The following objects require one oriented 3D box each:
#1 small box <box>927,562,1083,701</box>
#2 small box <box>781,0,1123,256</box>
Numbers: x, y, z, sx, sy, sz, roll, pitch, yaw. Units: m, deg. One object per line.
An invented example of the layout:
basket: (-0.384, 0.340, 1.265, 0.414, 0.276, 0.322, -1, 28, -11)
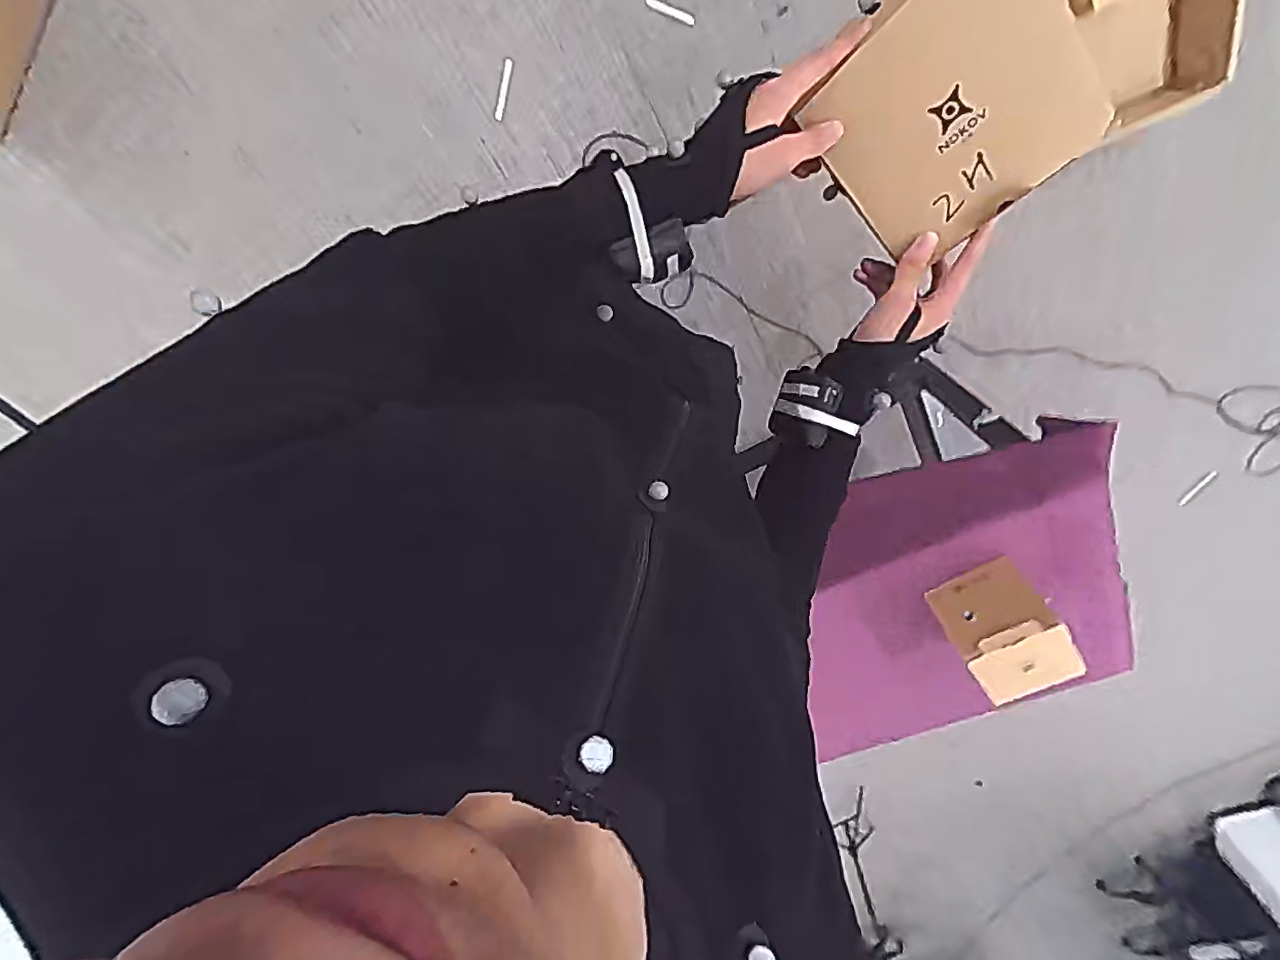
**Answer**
small box: (0.687, 0.281, 1.034, 0.168, 0.176, 0.179, -32, 119, 20)
small box: (0.236, -0.332, 0.455, 0.179, 0.176, 0.168, 38, 126, -22)
